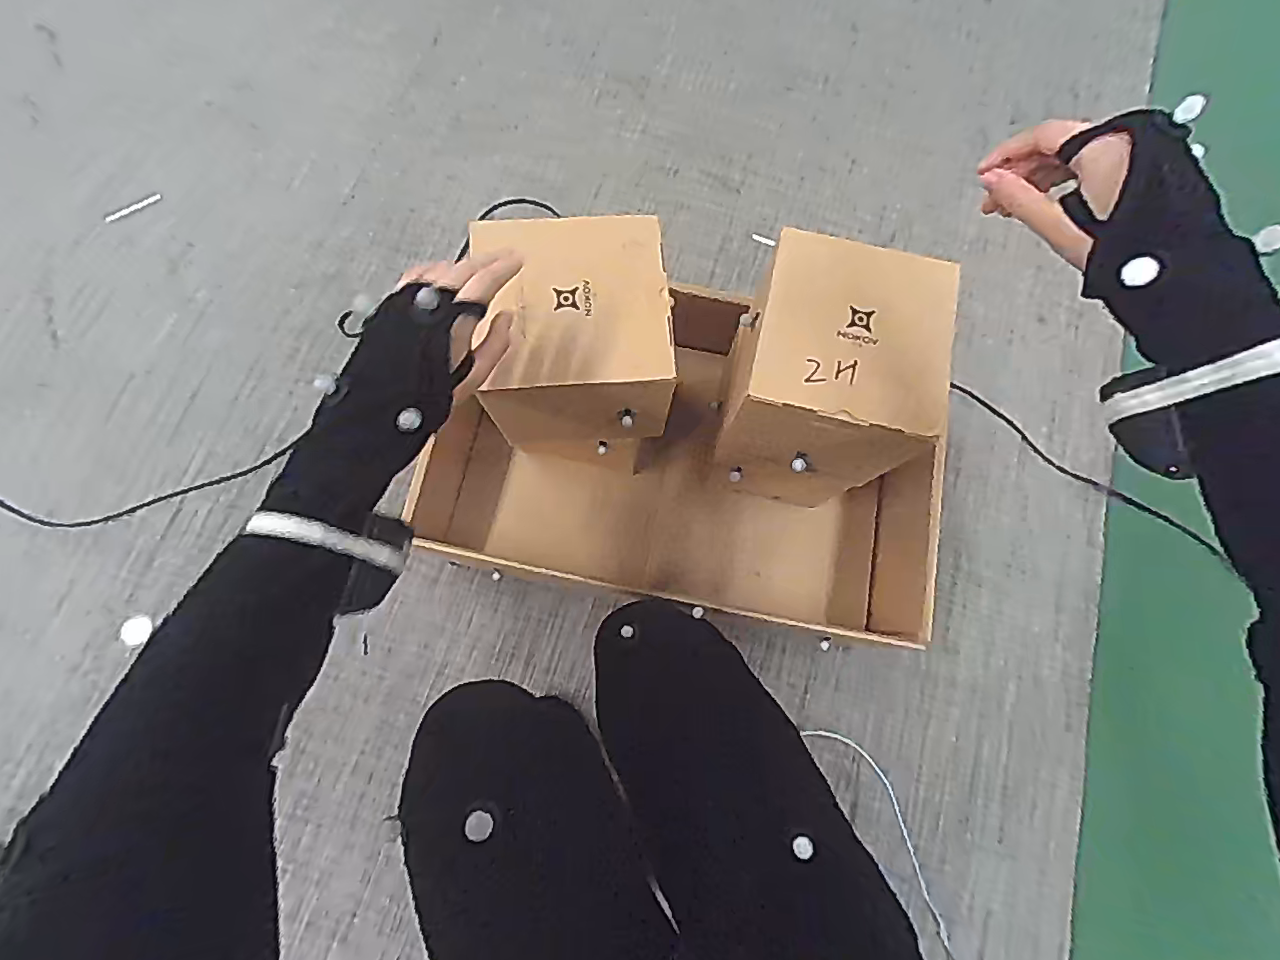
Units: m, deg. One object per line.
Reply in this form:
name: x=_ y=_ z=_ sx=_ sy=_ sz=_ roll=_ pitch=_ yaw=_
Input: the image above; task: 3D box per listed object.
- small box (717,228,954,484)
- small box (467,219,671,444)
small box: x=0.183 y=-0.111 z=0.548 sx=0.168 sy=0.176 sz=0.179 roll=14 pitch=77 yaw=3
small box: x=-0.068 y=-0.139 z=0.553 sx=0.179 sy=0.176 sz=0.168 roll=-3 pitch=78 yaw=-3
